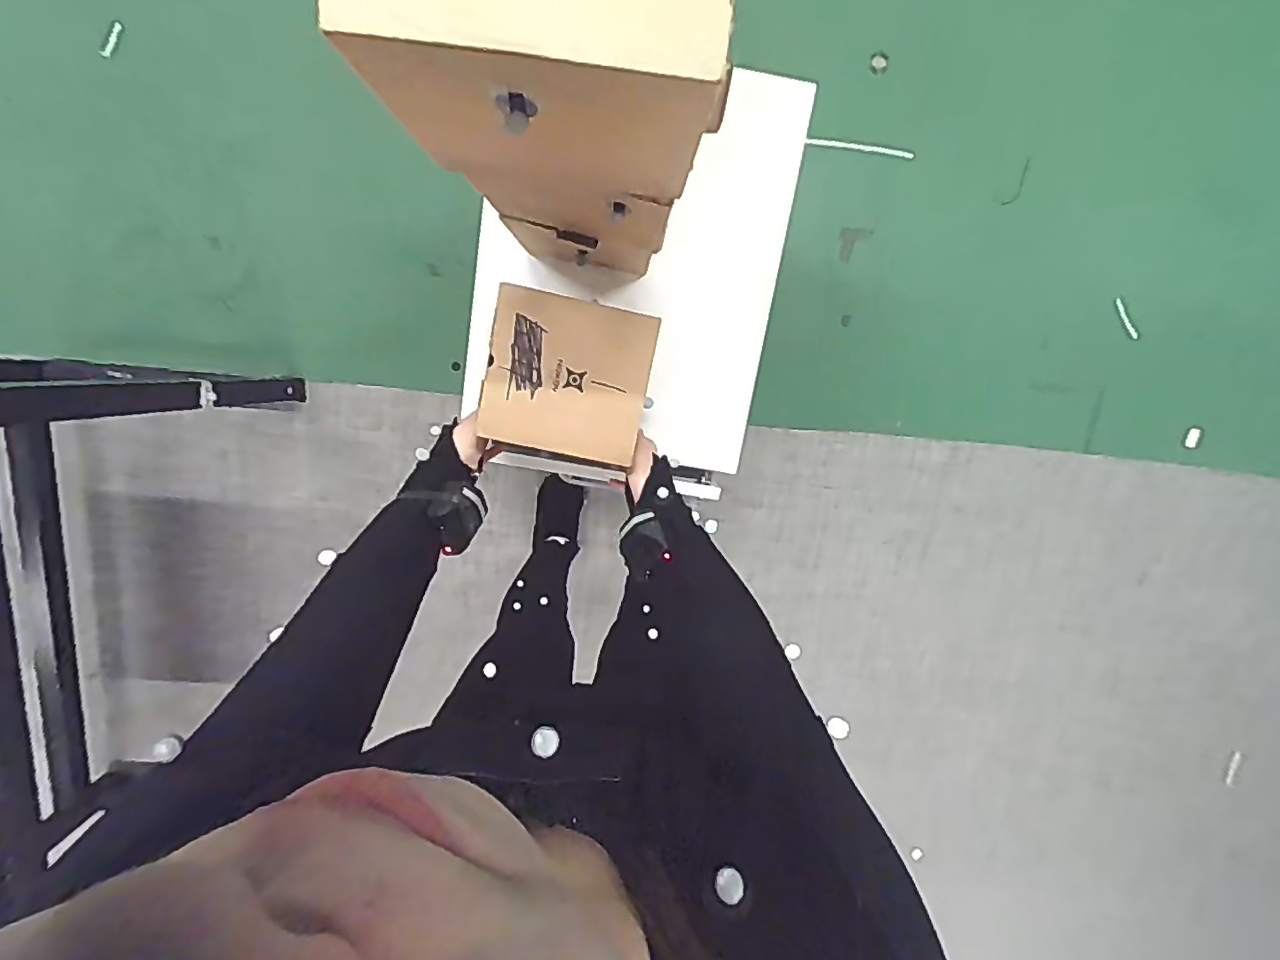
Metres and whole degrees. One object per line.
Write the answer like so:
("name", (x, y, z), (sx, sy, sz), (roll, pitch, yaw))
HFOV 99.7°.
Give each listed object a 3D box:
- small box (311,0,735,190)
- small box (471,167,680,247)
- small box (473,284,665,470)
("small box", (-0.044, -0.274, 0.289), (0.179, 0.176, 0.168), (5, 102, -4))
("small box", (-0.044, -0.311, 0.449), (0.179, 0.176, 0.168), (12, 100, -5))
("small box", (-0.080, -0.115, 0.646), (0.179, 0.176, 0.168), (12, 97, -5))
